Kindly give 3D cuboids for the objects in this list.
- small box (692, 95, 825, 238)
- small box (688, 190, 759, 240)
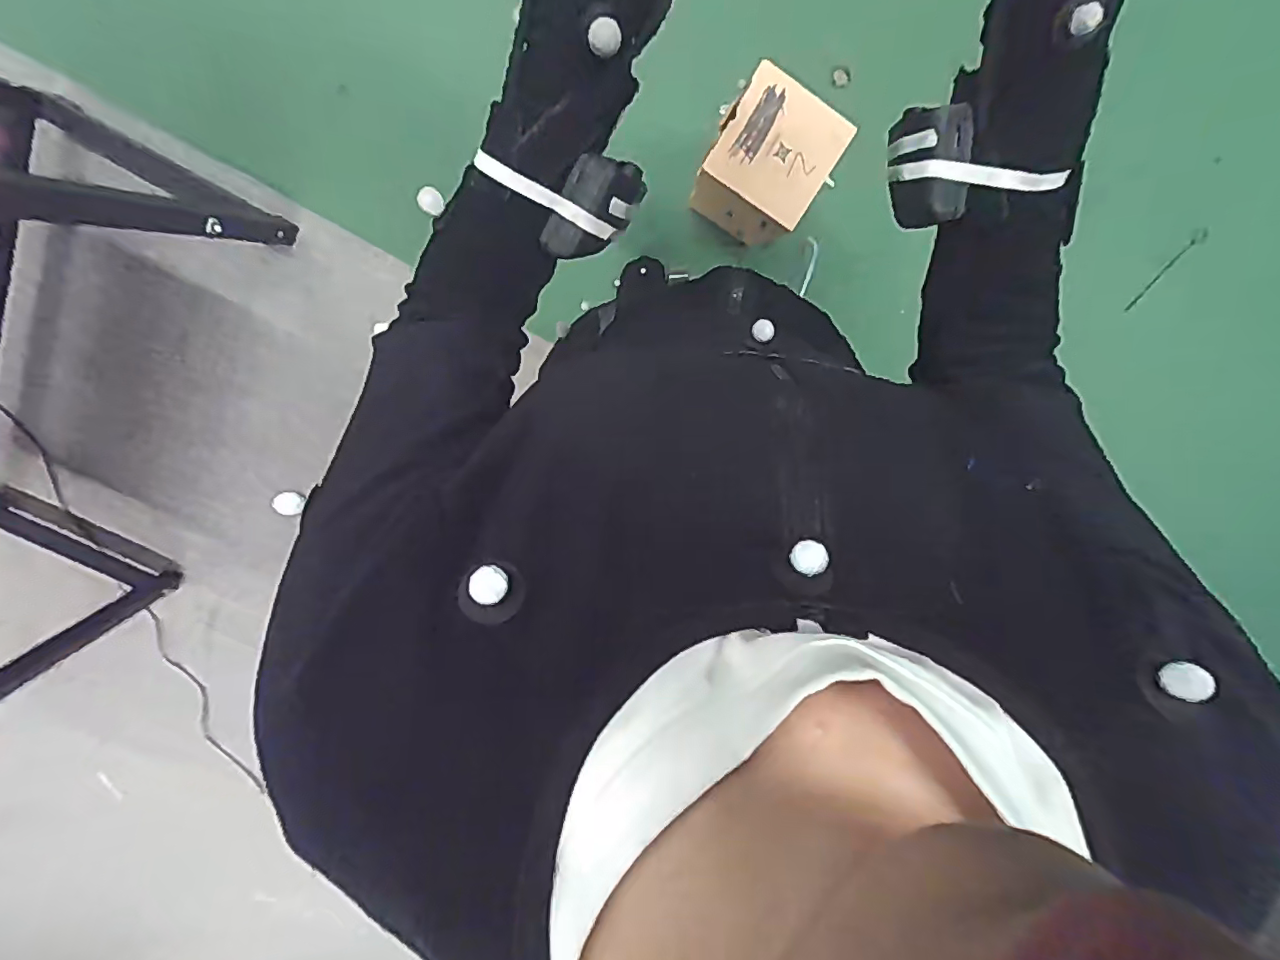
[{"bbox_3d":[0.217,-0.588,1.043,0.179,0.176,0.168,30,108,-9],"label":"small box"},{"bbox_3d":[0.222,-0.651,1.193,0.179,0.176,0.168,29,107,-10],"label":"small box"}]
